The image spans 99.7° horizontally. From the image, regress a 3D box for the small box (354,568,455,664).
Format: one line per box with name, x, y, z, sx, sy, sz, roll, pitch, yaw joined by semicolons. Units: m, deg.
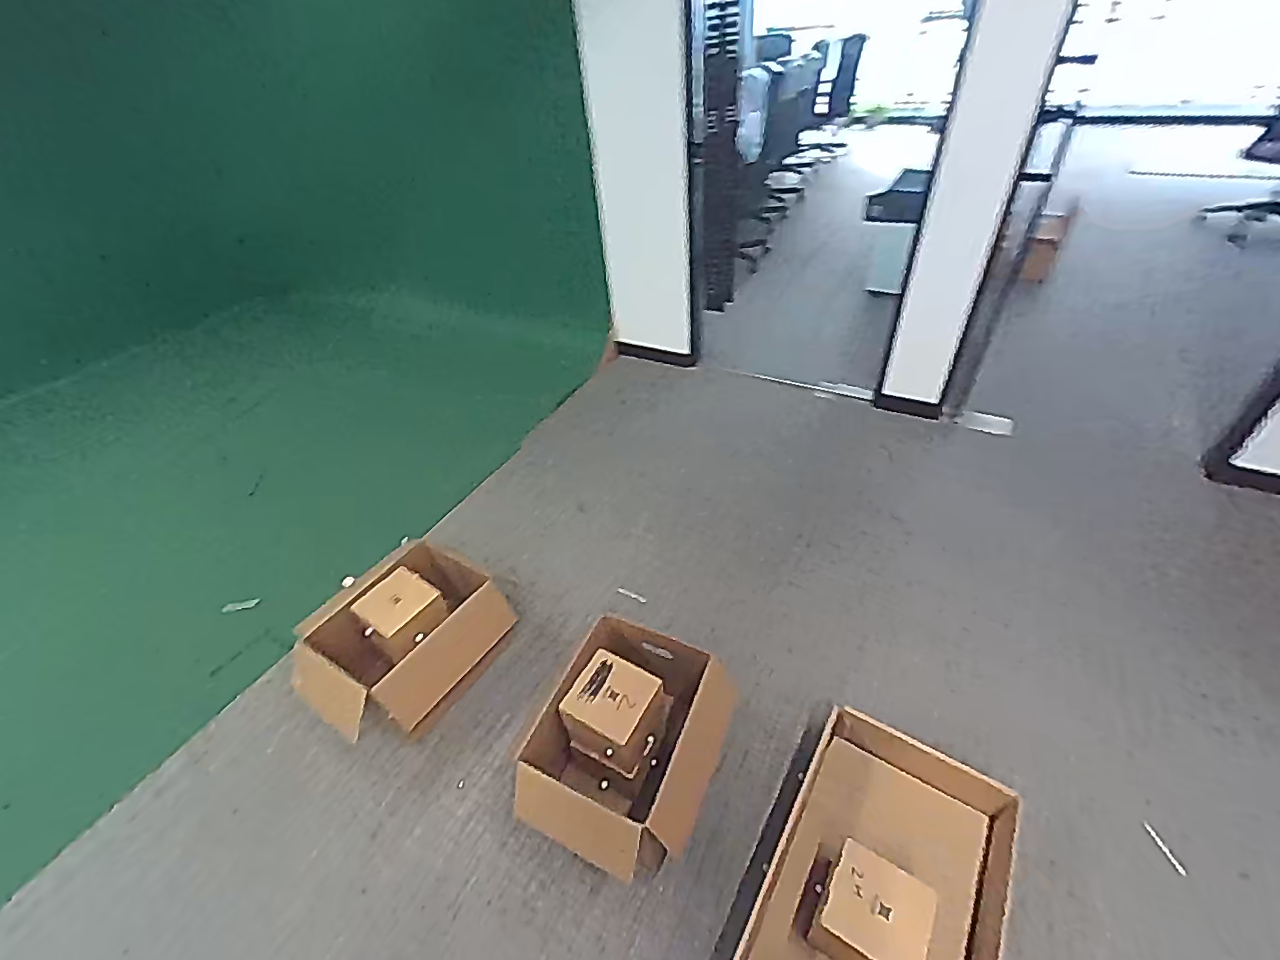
small box;-0.648;0.385;1.510;0.179;0.176;0.168;23;48;28
